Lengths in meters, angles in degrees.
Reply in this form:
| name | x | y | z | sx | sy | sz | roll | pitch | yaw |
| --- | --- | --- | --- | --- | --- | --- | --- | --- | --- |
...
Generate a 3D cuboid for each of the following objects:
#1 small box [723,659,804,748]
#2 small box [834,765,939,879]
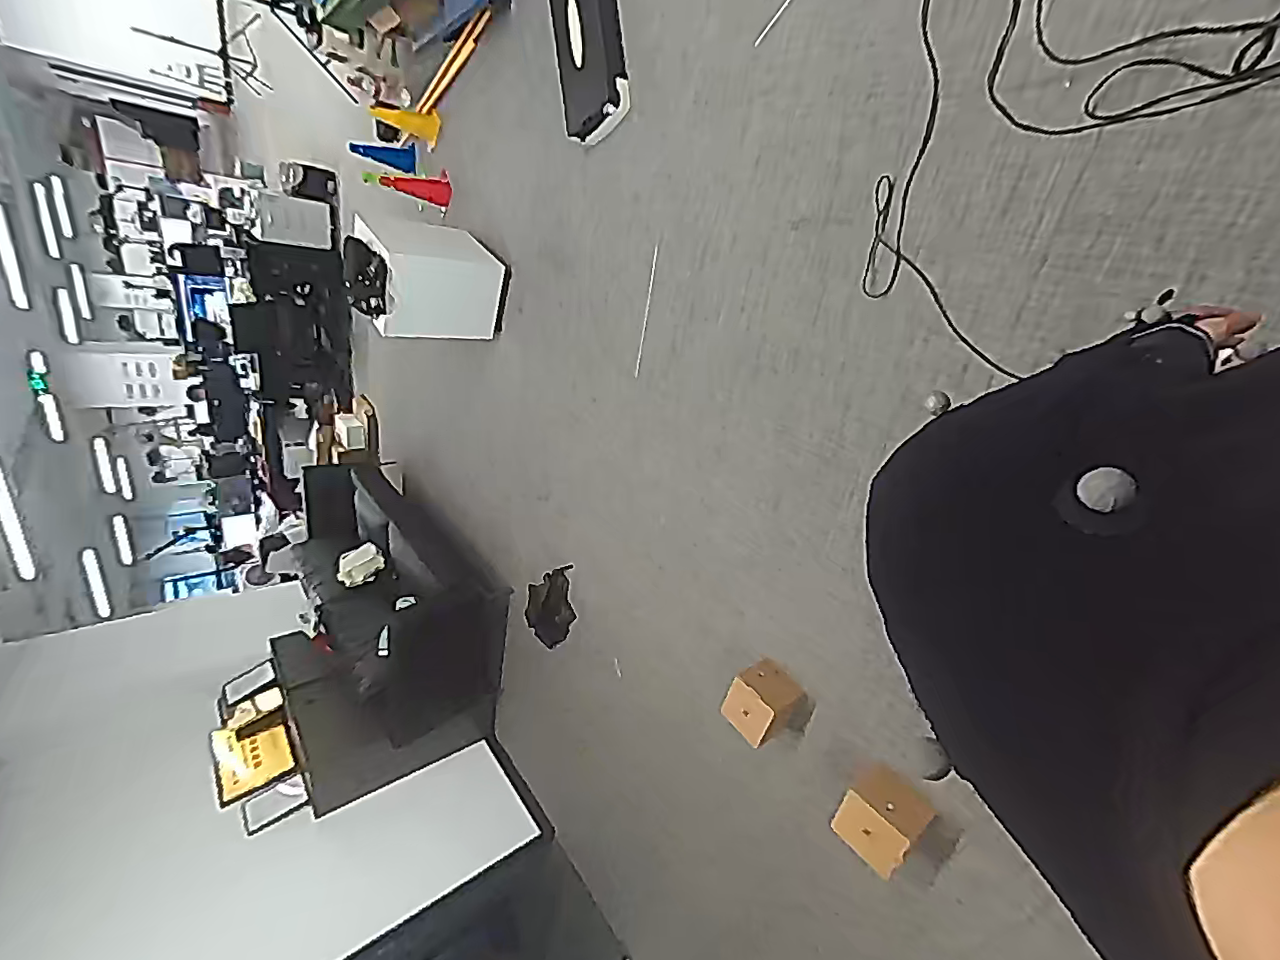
| name | x | y | z | sx | sy | sz | roll | pitch | yaw |
| --- | --- | --- | --- | --- | --- | --- | --- | --- | --- |
| small box | 0.400 | 0.711 | 1.738 | 0.168 | 0.176 | 0.179 | 39 | 127 | 40 |
| small box | 0.666 | 0.910 | 1.463 | 0.179 | 0.176 | 0.168 | 33 | 122 | 41 |
